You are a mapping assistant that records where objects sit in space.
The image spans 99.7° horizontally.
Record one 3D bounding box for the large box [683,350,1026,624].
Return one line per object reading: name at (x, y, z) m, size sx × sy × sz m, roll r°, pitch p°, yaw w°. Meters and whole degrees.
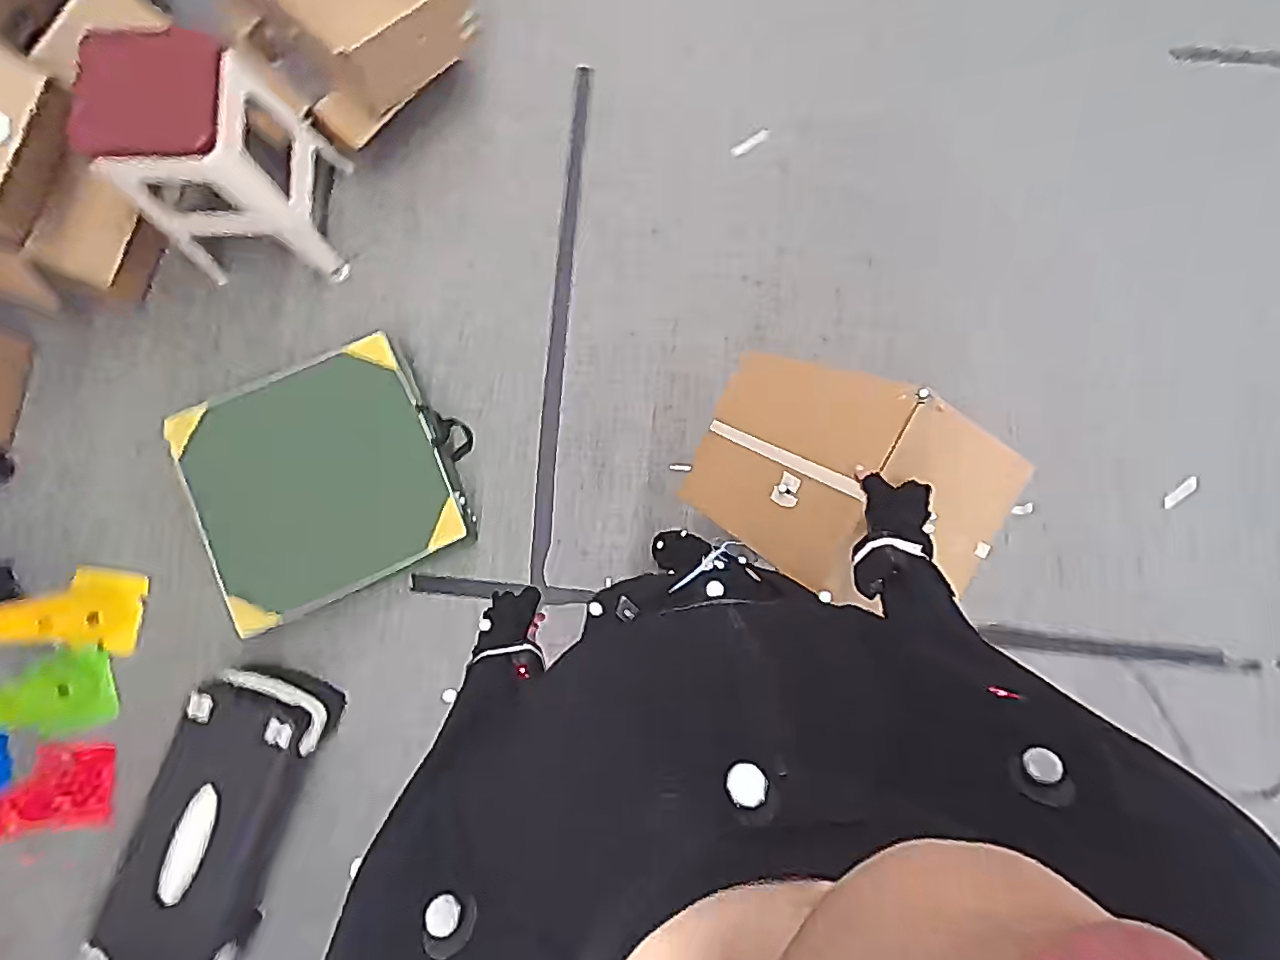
large box at (0.351, -0.003, 0.967) m, size 0.320 × 0.408 × 0.320 m, roll 20°, pitch 102°, yaw -31°
